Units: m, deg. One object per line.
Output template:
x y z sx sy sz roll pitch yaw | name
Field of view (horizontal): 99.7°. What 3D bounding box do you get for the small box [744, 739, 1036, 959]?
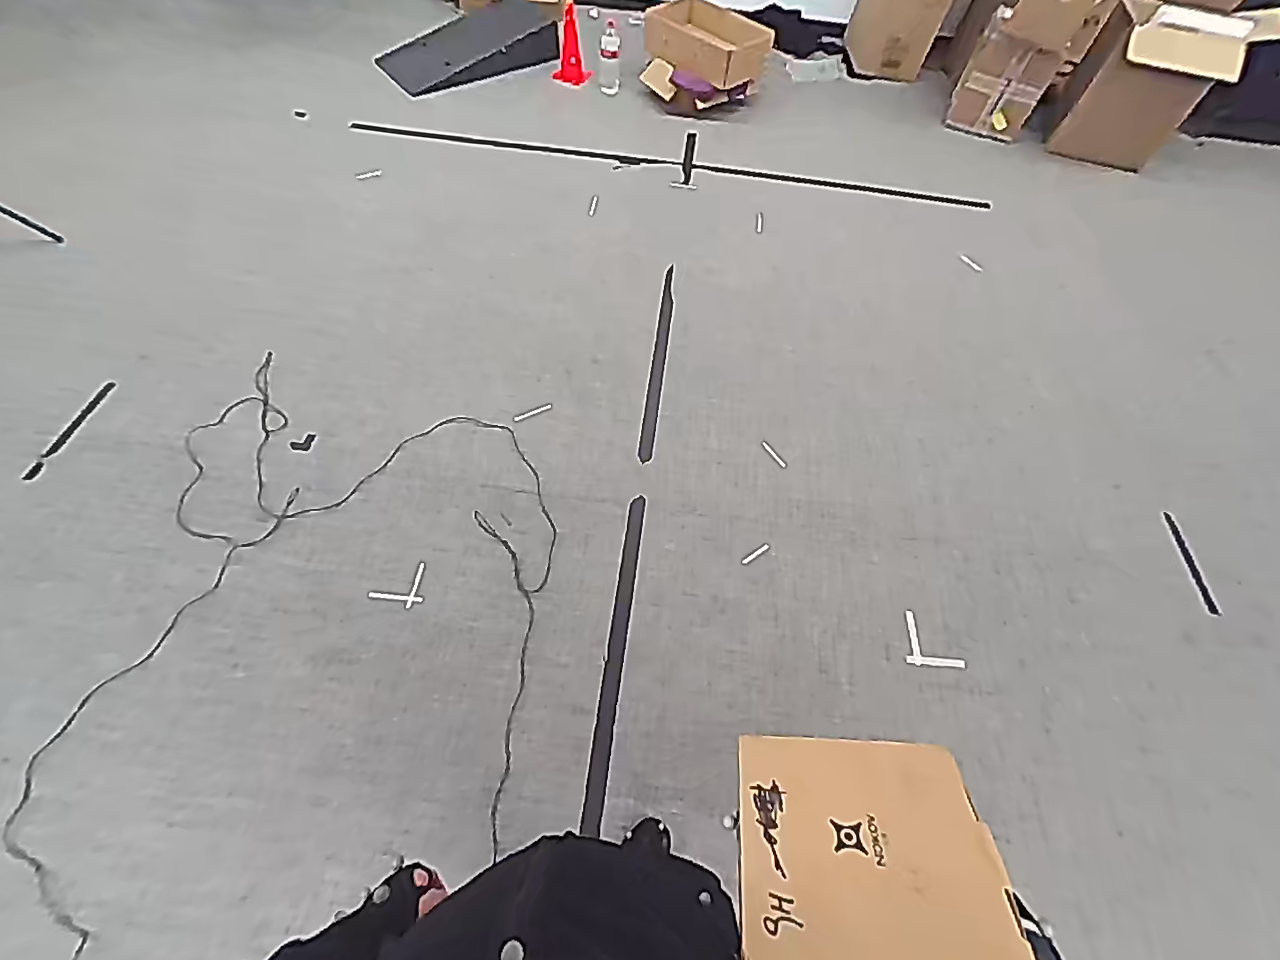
0.175 0.342 0.437 0.179 0.176 0.168 -1 25 10 | small box
